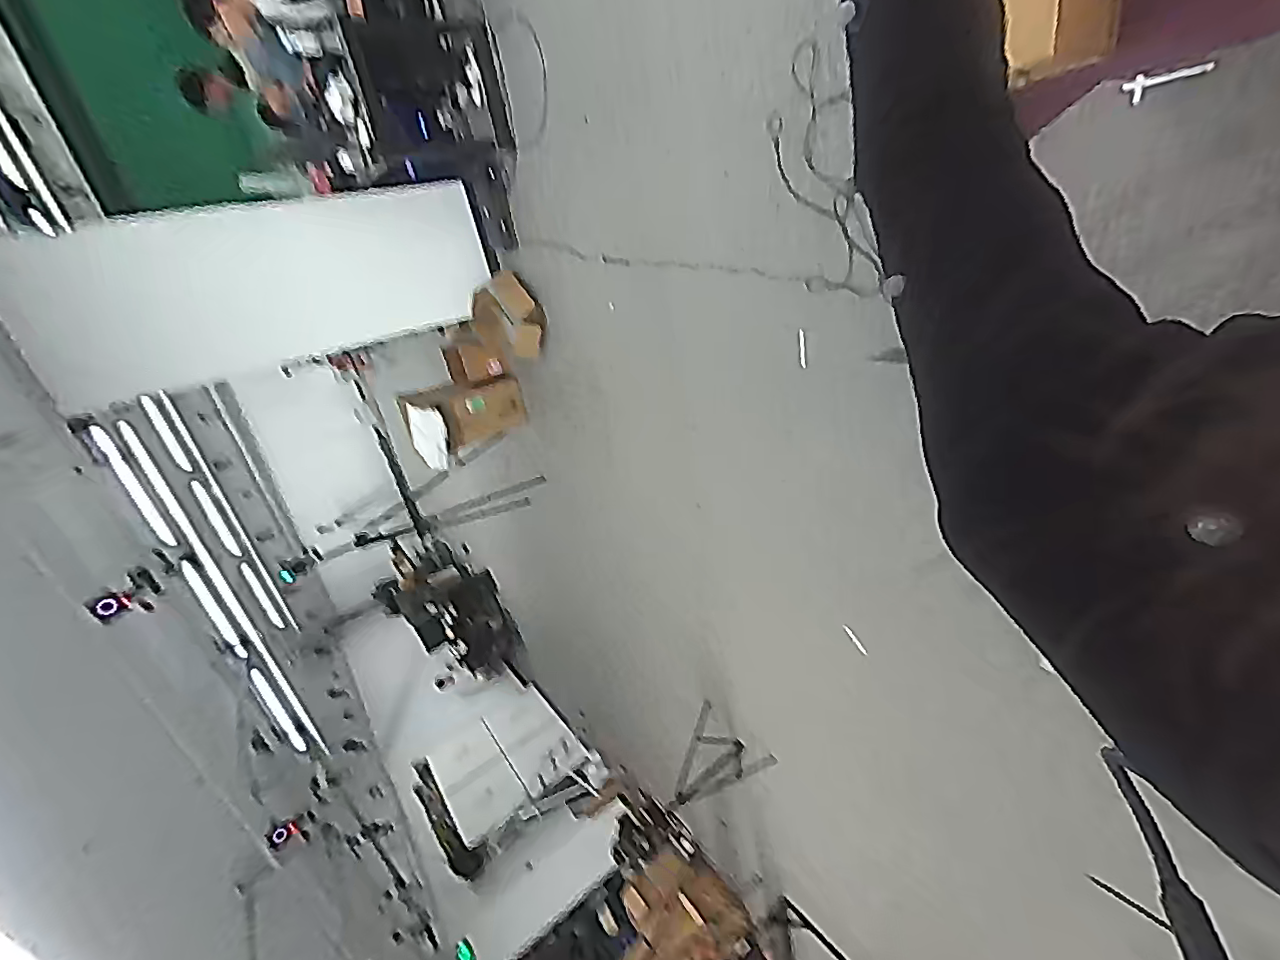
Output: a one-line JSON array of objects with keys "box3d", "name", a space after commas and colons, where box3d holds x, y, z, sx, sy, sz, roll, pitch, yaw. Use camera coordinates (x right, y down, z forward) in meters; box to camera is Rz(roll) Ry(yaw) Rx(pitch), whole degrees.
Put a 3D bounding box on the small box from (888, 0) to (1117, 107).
[{"box3d": [0.410, -0.546, 0.615, 0.179, 0.176, 0.168, 18, 128, 51], "name": "small box"}]
